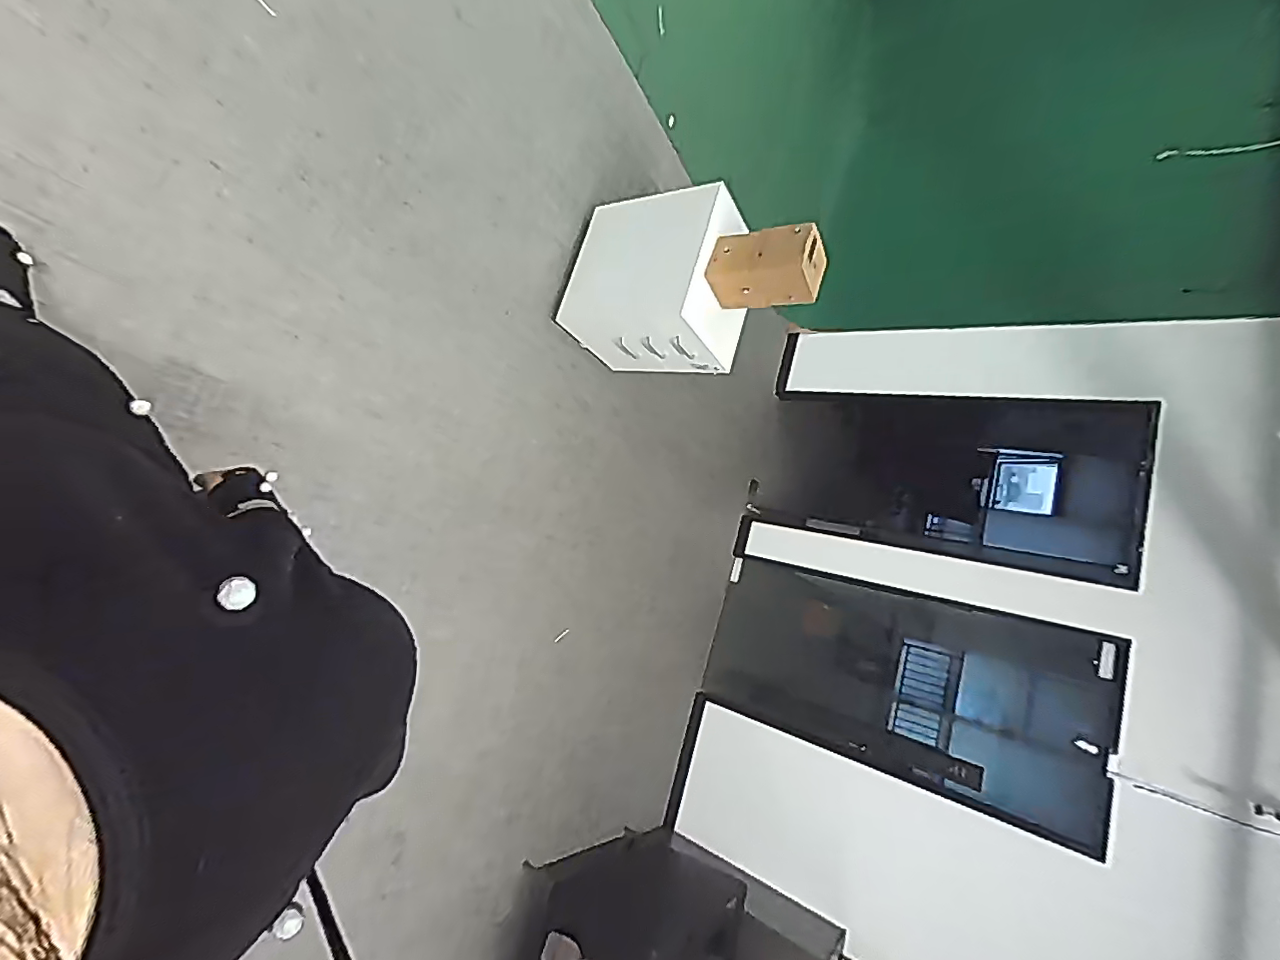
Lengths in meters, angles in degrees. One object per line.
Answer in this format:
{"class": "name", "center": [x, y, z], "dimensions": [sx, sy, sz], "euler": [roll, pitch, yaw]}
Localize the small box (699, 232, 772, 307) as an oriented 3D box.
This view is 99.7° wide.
{"class": "small box", "center": [0.324, -0.705, 1.824], "dimensions": [0.179, 0.176, 0.168], "euler": [42, 64, -52]}
